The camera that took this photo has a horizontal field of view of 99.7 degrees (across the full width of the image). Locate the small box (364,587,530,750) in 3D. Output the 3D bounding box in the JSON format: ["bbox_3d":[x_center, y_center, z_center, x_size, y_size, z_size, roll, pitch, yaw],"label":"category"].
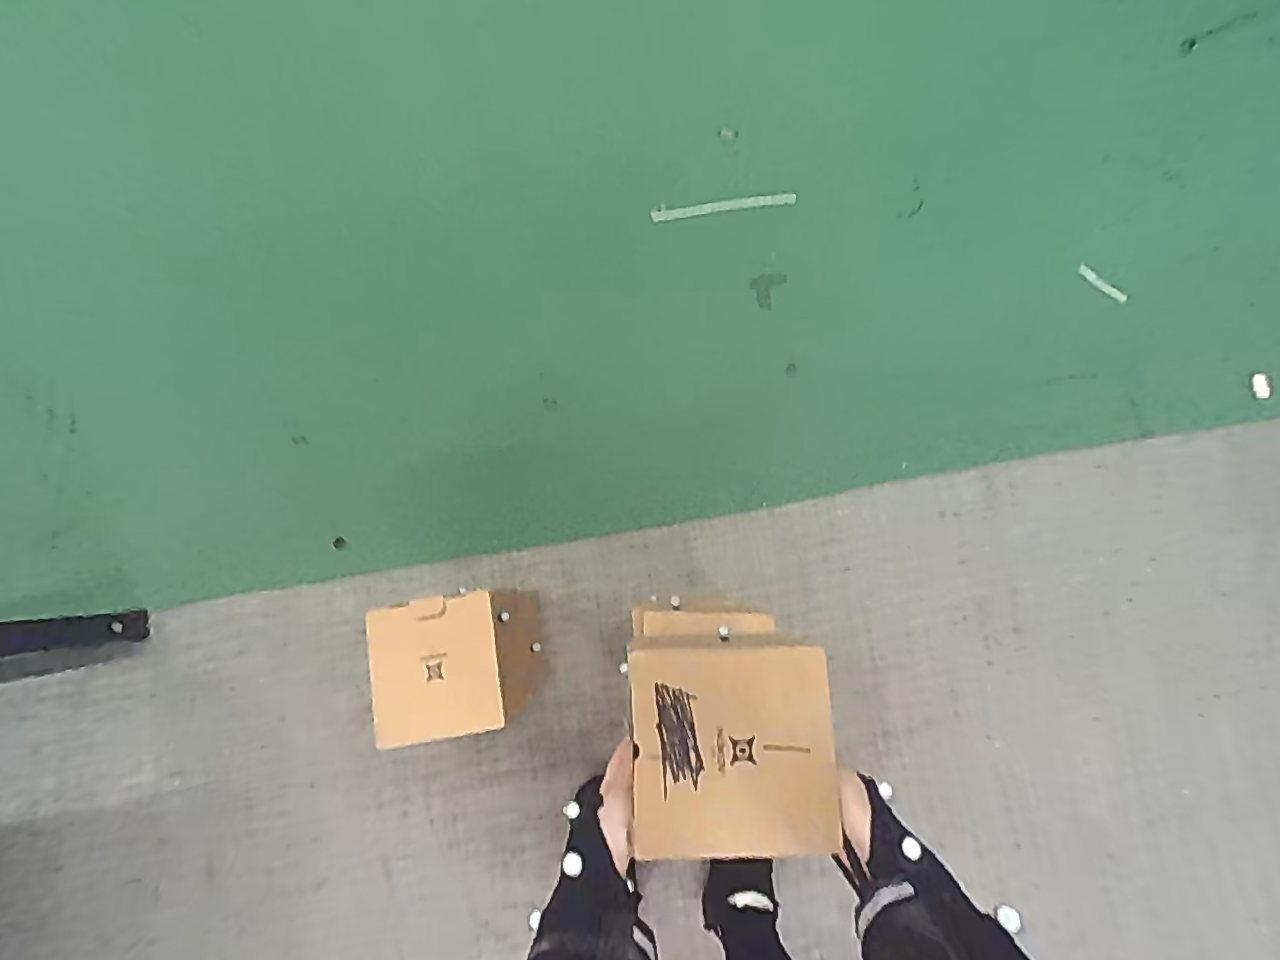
[{"bbox_3d":[-0.262,0.253,0.766,0.168,0.176,0.179,-10,79,-2],"label":"small box"}]

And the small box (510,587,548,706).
[{"bbox_3d":[-0.261,0.288,0.925,0.168,0.176,0.179,-12,81,-2],"label":"small box"}]

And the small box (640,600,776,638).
[{"bbox_3d":[0.087,0.261,0.765,0.179,0.176,0.168,1,81,-1],"label":"small box"}]

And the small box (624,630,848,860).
[{"bbox_3d":[0.078,0.236,0.522,0.179,0.176,0.168,-2,78,0],"label":"small box"}]
